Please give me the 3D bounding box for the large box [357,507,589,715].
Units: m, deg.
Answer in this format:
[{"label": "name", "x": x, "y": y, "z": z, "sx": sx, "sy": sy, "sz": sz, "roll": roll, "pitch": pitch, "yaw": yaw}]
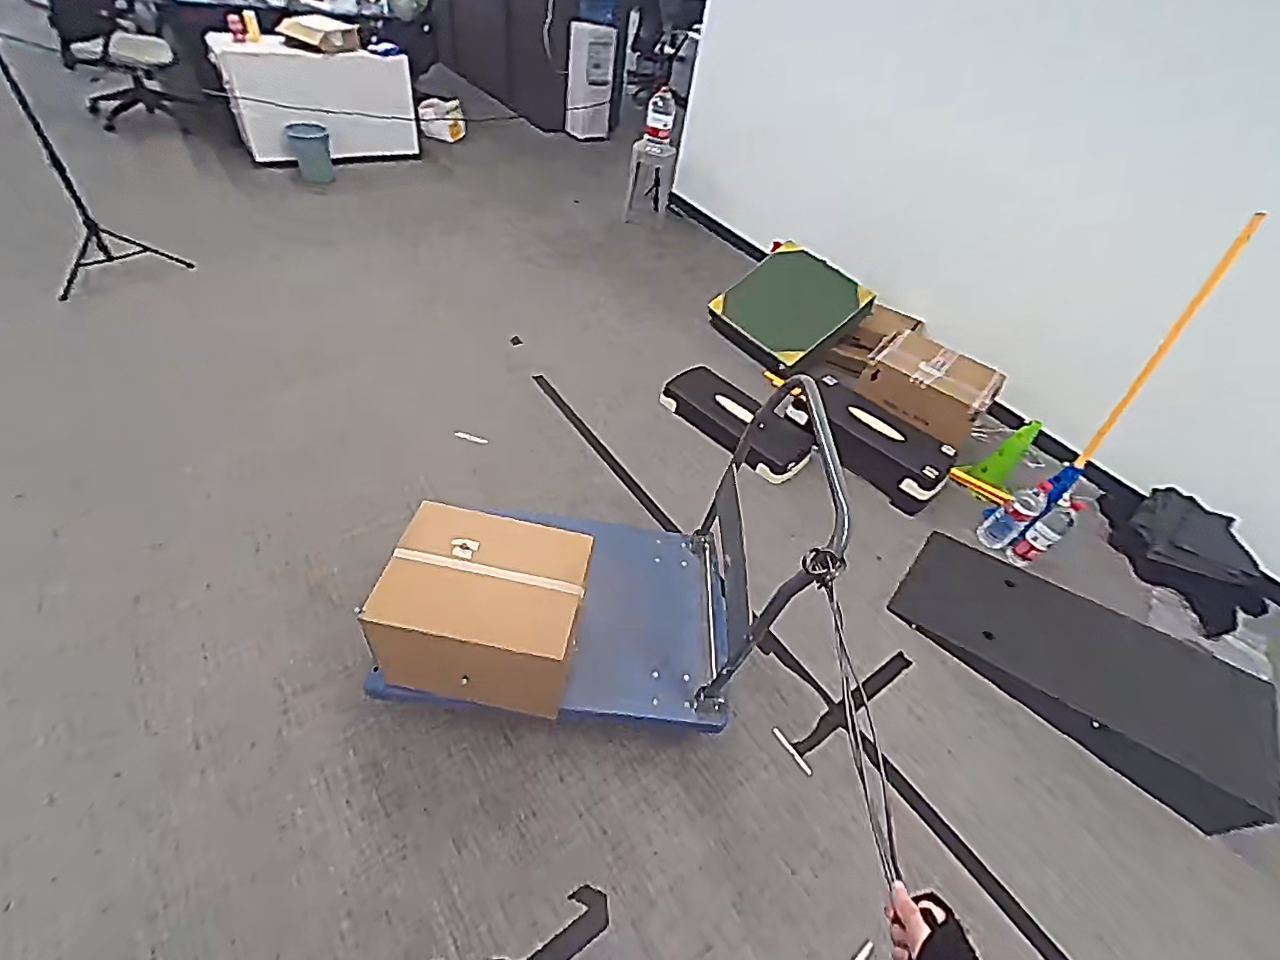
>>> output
[{"label": "large box", "x": -0.347, "y": 0.305, "z": 1.239, "sx": 0.408, "sy": 0.320, "sz": 0.320, "roll": 11, "pitch": 45, "yaw": -1}]
